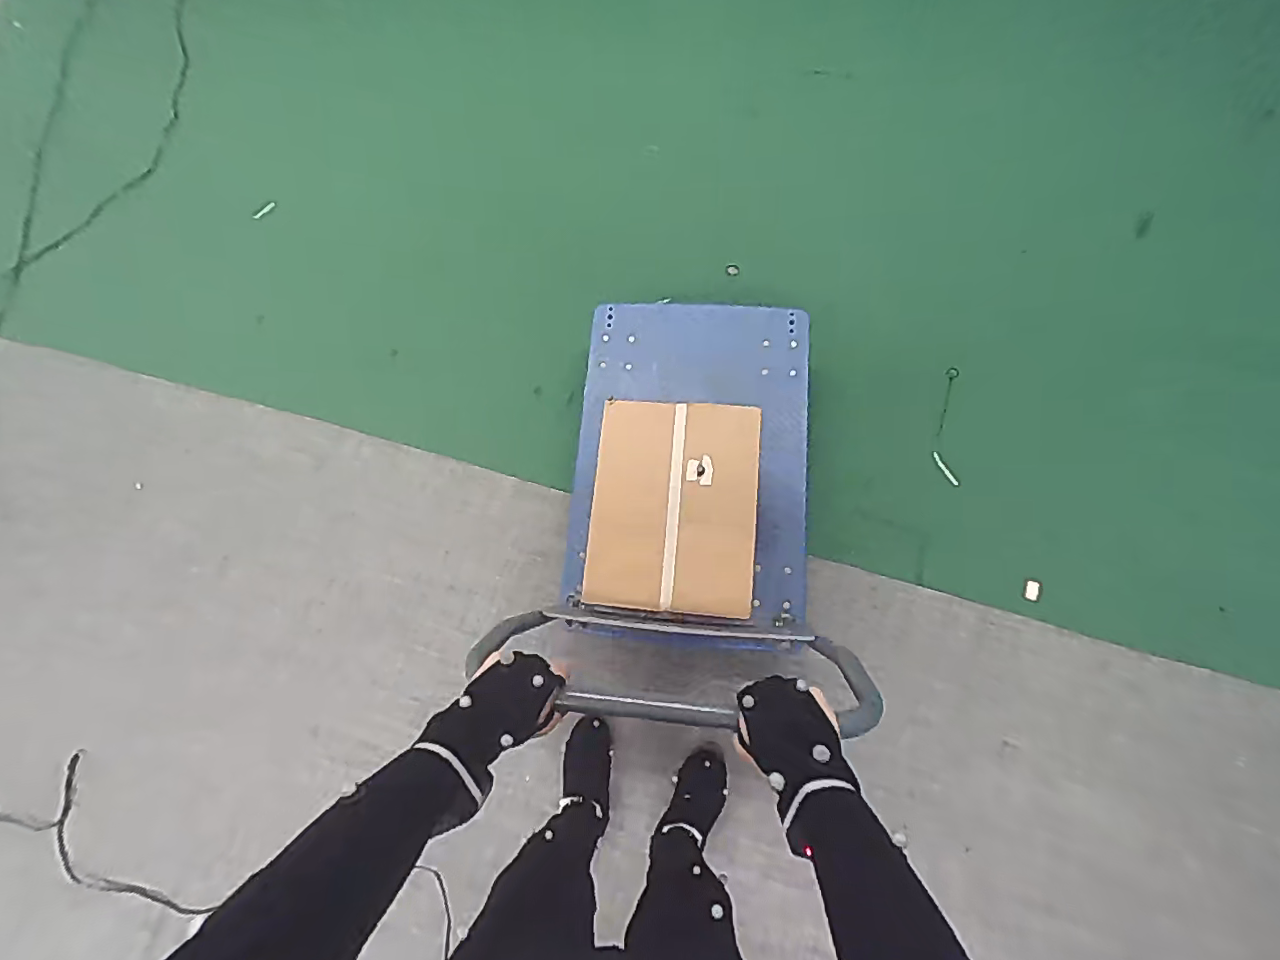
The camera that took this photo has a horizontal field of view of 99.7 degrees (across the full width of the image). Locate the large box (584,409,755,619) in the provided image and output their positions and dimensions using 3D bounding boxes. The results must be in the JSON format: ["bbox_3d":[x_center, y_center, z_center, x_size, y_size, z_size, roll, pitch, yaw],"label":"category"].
[{"bbox_3d":[0.077,0.091,1.191,0.320,0.320,0.408,4,77,7],"label":"large box"}]
